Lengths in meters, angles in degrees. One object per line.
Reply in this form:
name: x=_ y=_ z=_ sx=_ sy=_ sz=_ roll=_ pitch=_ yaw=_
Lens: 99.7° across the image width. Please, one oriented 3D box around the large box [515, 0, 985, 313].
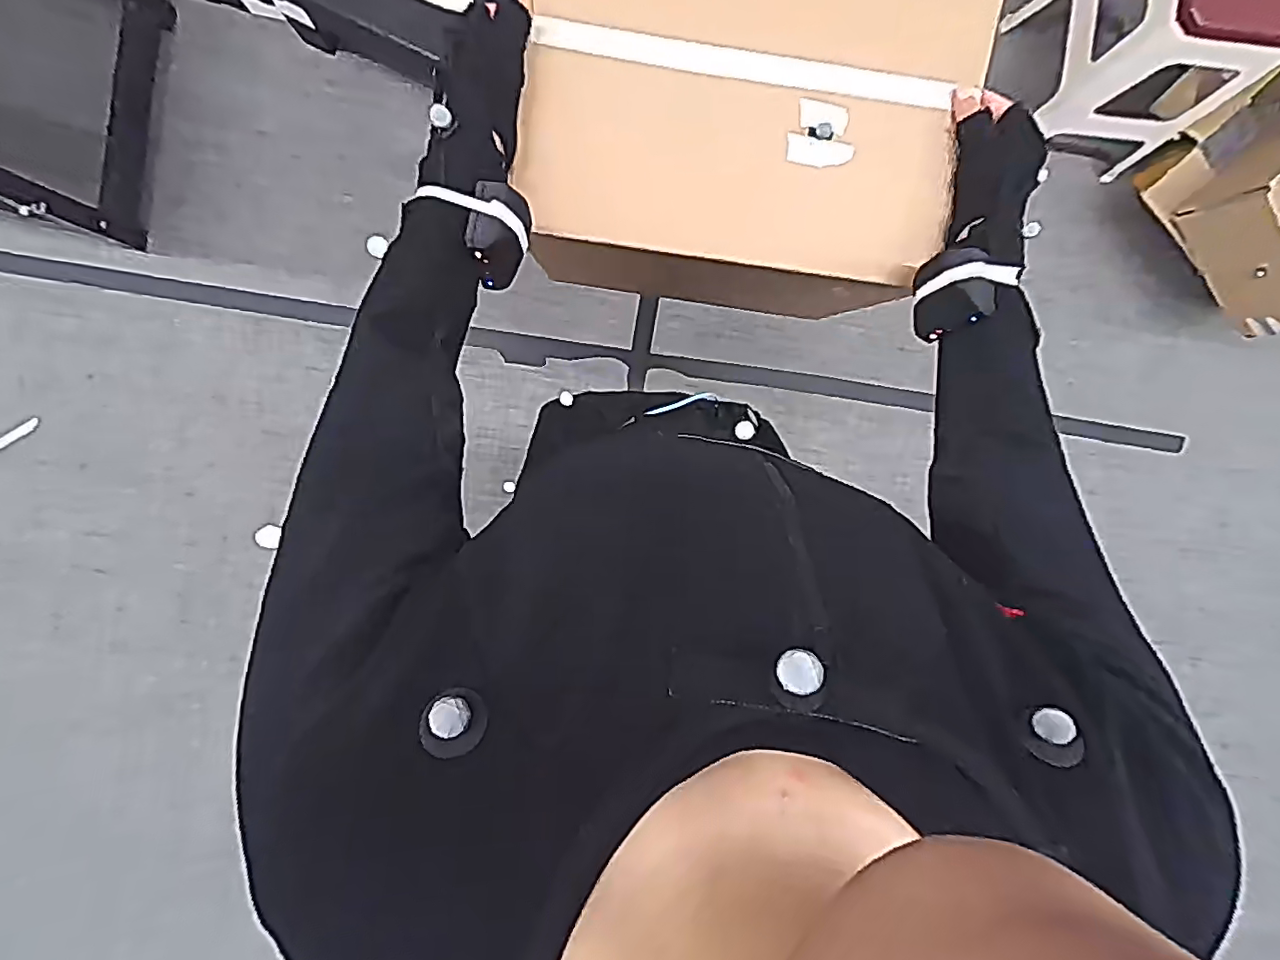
large box: x=0.088 y=-0.388 z=0.624 sx=0.408 sy=0.320 sz=0.320 roll=6 pitch=102 yaw=-4
